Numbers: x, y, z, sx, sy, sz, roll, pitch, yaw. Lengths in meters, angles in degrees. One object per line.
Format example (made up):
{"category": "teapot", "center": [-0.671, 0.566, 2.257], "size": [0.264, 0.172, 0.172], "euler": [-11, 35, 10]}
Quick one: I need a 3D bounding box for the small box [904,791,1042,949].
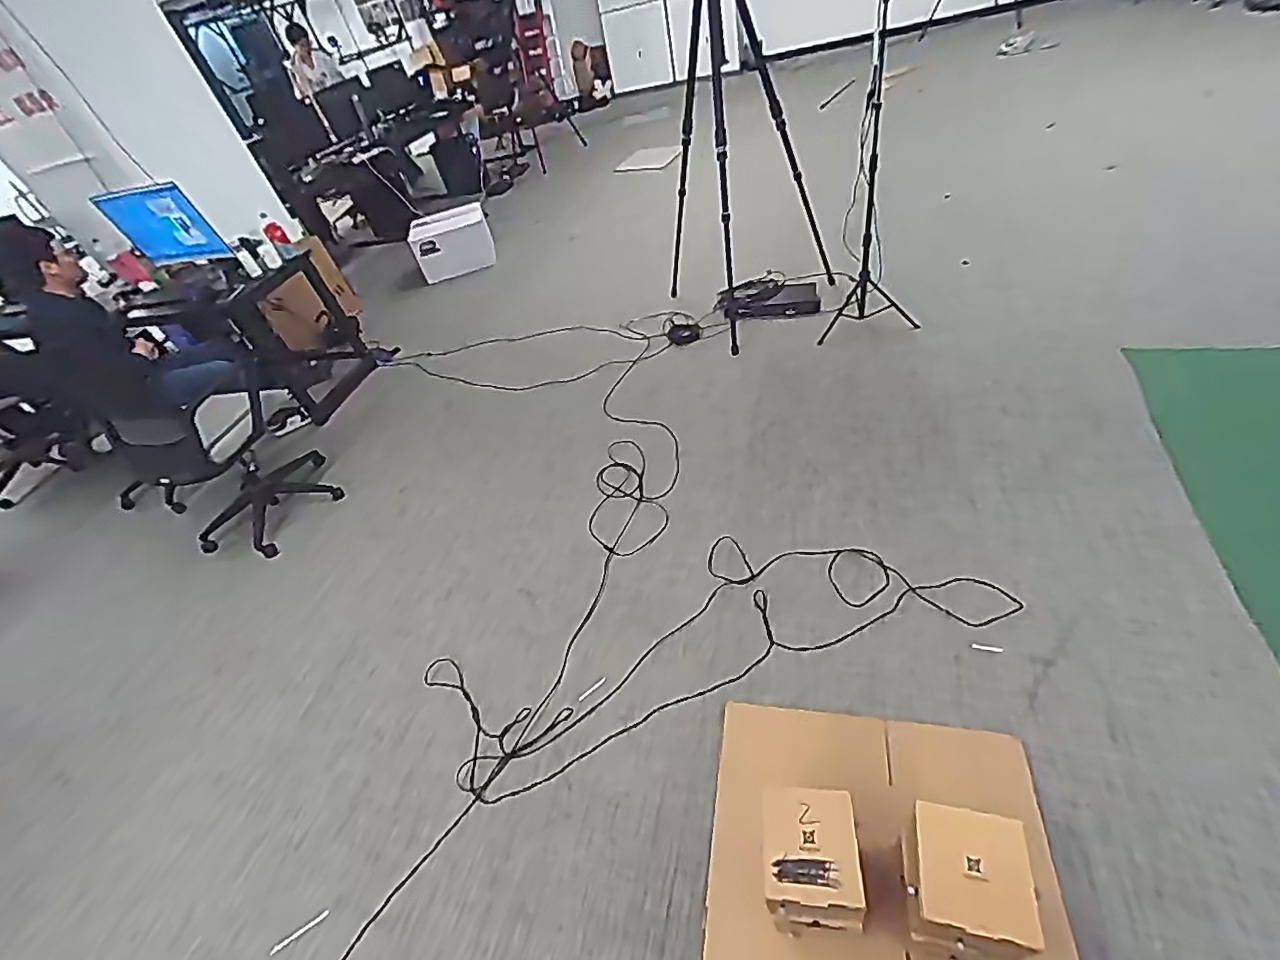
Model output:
{"category": "small box", "center": [0.564, 0.679, 0.943], "size": [0.168, 0.176, 0.179], "euler": [2, 48, 20]}

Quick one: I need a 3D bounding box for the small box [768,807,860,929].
{"category": "small box", "center": [0.355, 0.802, 1.117], "size": [0.168, 0.176, 0.179], "euler": [-3, 45, 15]}

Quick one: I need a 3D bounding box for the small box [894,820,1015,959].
{"category": "small box", "center": [0.597, 0.796, 1.052], "size": [0.168, 0.176, 0.179], "euler": [-1, 47, 19]}
